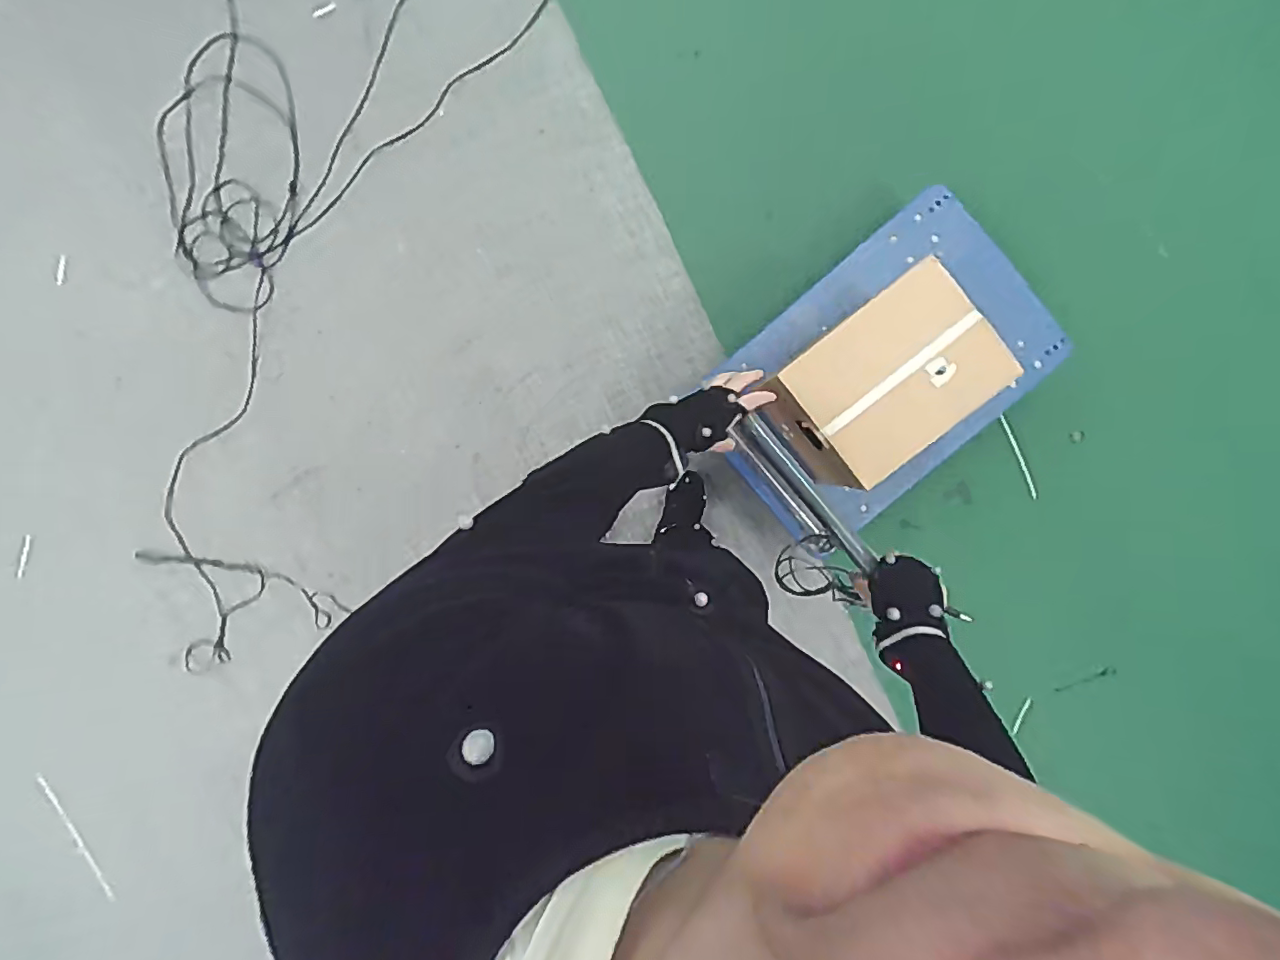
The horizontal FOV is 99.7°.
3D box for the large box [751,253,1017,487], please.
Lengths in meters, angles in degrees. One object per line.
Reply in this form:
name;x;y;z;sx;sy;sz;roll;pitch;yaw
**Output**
large box;0.529;-0.227;1.256;0.408;0.320;0.320;-38;92;2
